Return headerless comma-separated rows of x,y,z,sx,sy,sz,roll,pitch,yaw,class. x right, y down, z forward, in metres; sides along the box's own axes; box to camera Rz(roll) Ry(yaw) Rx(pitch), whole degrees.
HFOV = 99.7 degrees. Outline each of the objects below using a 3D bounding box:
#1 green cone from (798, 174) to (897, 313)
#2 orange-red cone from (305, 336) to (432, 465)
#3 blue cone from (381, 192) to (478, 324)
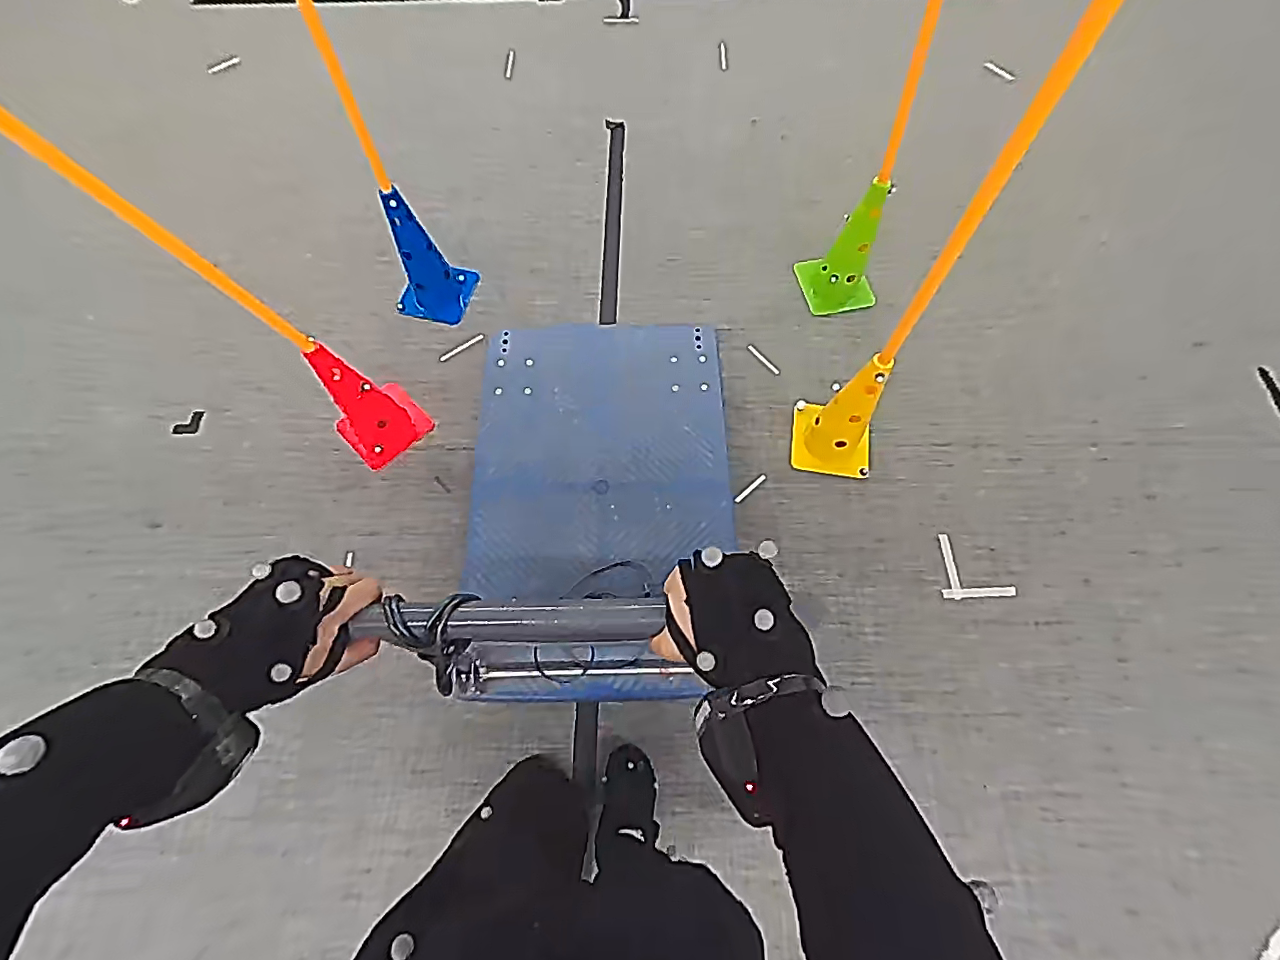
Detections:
0.585,-0.653,1.450,0.200,0.368,0.202,-12,69,-4,green cone
-0.680,-0.219,1.286,0.199,0.360,0.198,-41,74,-16,orange-red cone
-0.596,-0.617,1.463,0.193,0.380,0.192,14,69,6,blue cone
